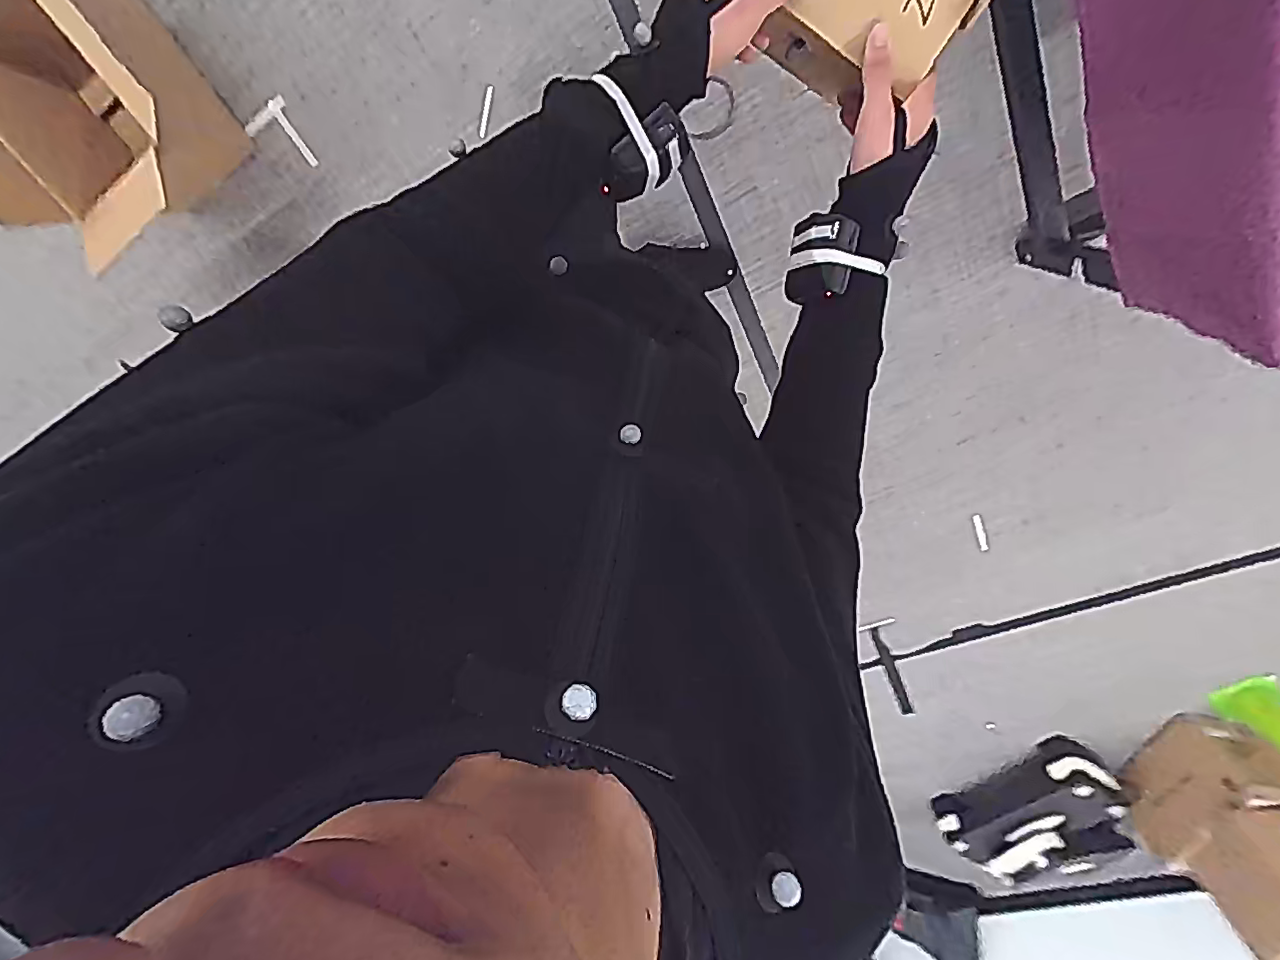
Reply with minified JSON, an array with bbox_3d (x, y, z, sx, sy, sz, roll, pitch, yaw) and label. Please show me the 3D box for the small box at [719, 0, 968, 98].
[{"bbox_3d":[0.181,-0.449,0.448,0.179,0.176,0.168,26,120,-14],"label":"small box"}]
